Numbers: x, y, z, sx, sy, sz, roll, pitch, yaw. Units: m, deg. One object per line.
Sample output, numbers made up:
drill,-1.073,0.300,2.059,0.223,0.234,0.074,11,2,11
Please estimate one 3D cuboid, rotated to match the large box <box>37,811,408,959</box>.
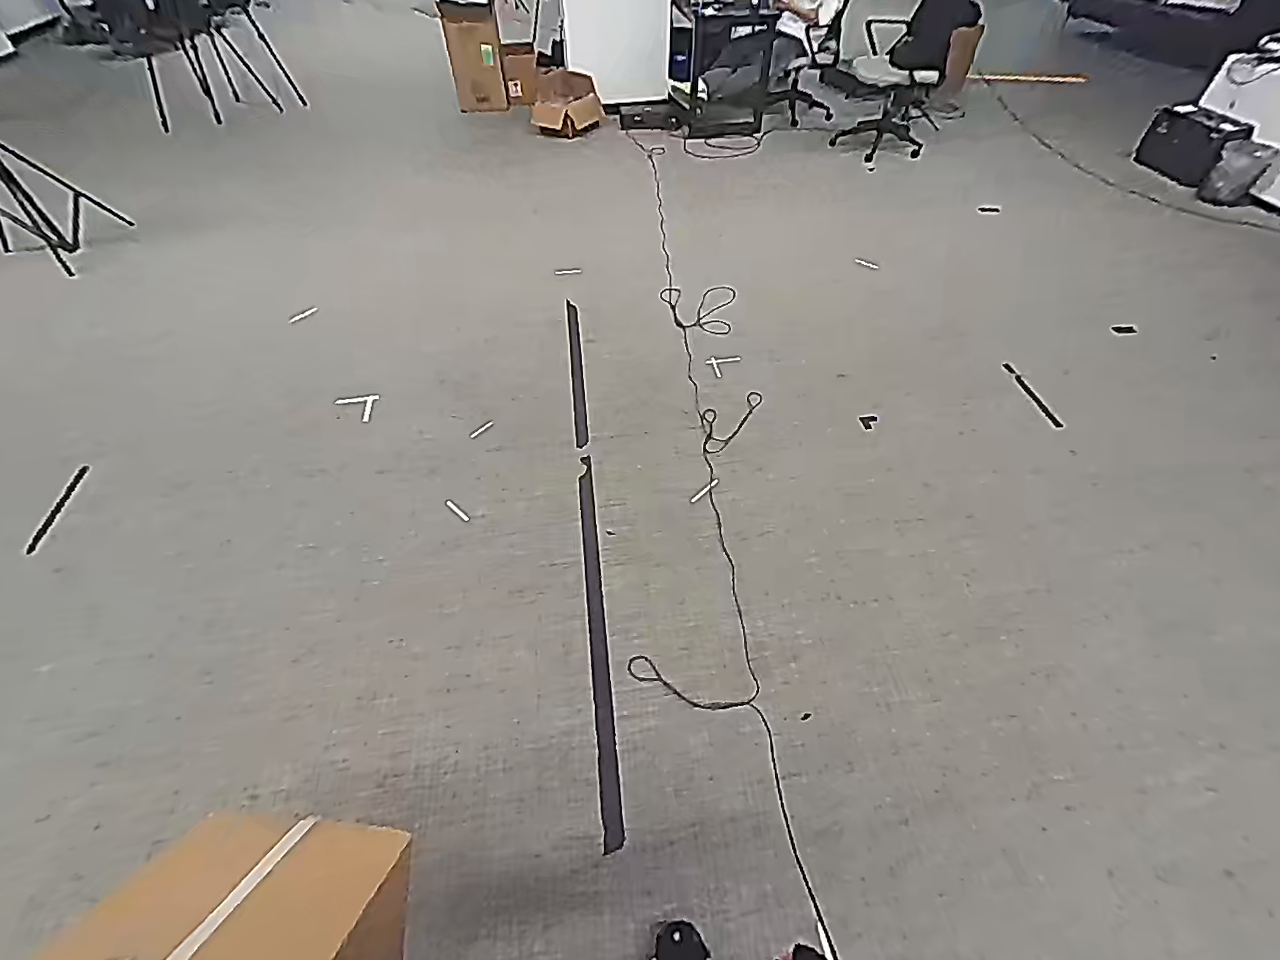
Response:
large box,-0.521,0.684,0.638,0.320,0.408,0.320,5,93,2
